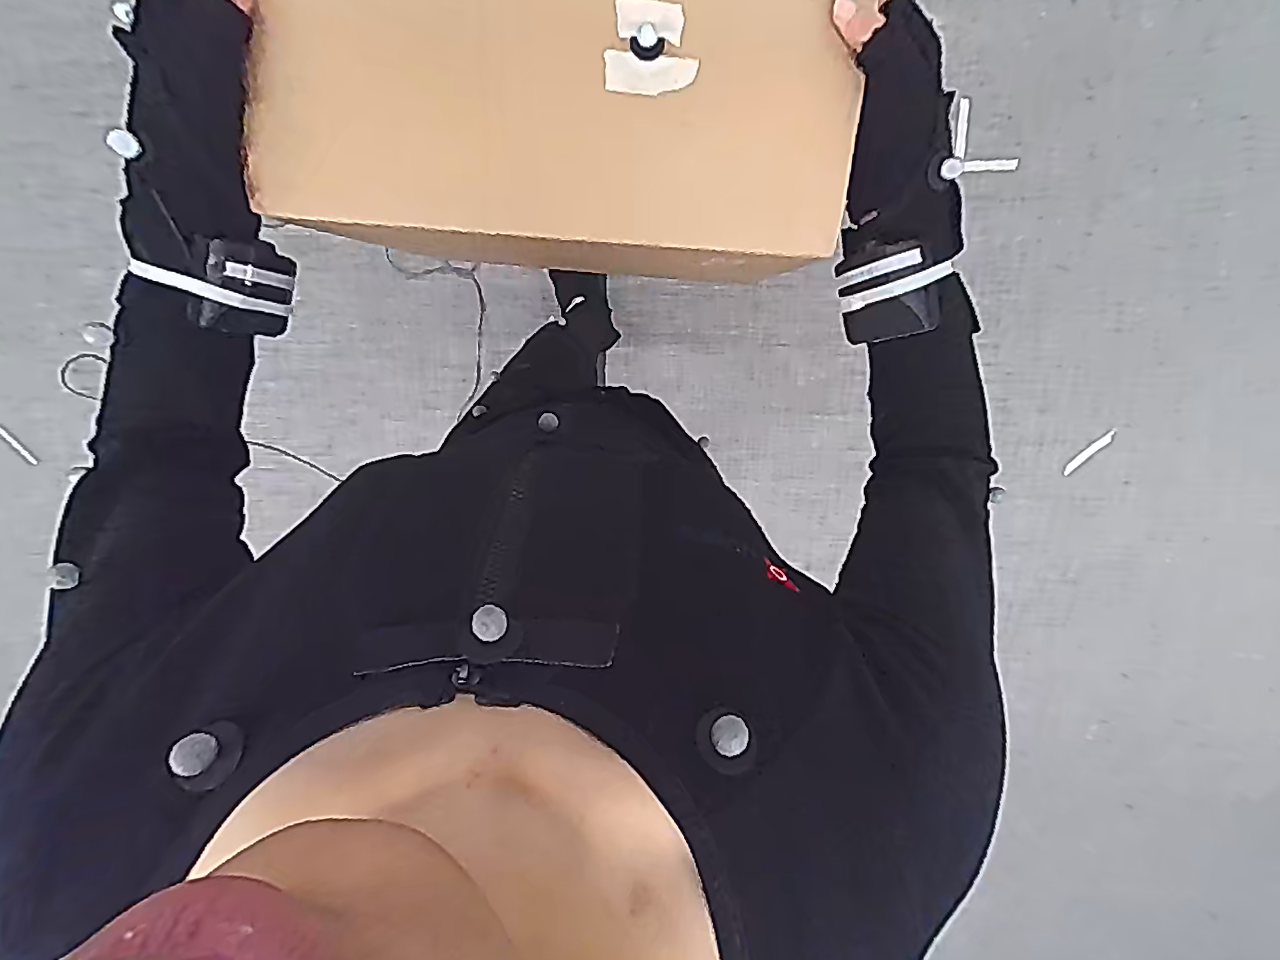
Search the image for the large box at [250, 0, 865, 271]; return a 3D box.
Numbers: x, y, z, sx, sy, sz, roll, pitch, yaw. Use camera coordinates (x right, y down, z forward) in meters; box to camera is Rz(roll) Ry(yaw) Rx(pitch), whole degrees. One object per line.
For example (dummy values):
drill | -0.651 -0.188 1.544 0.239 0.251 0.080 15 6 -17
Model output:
large box | -0.051 -0.373 0.485 0.408 0.320 0.320 4 107 0
